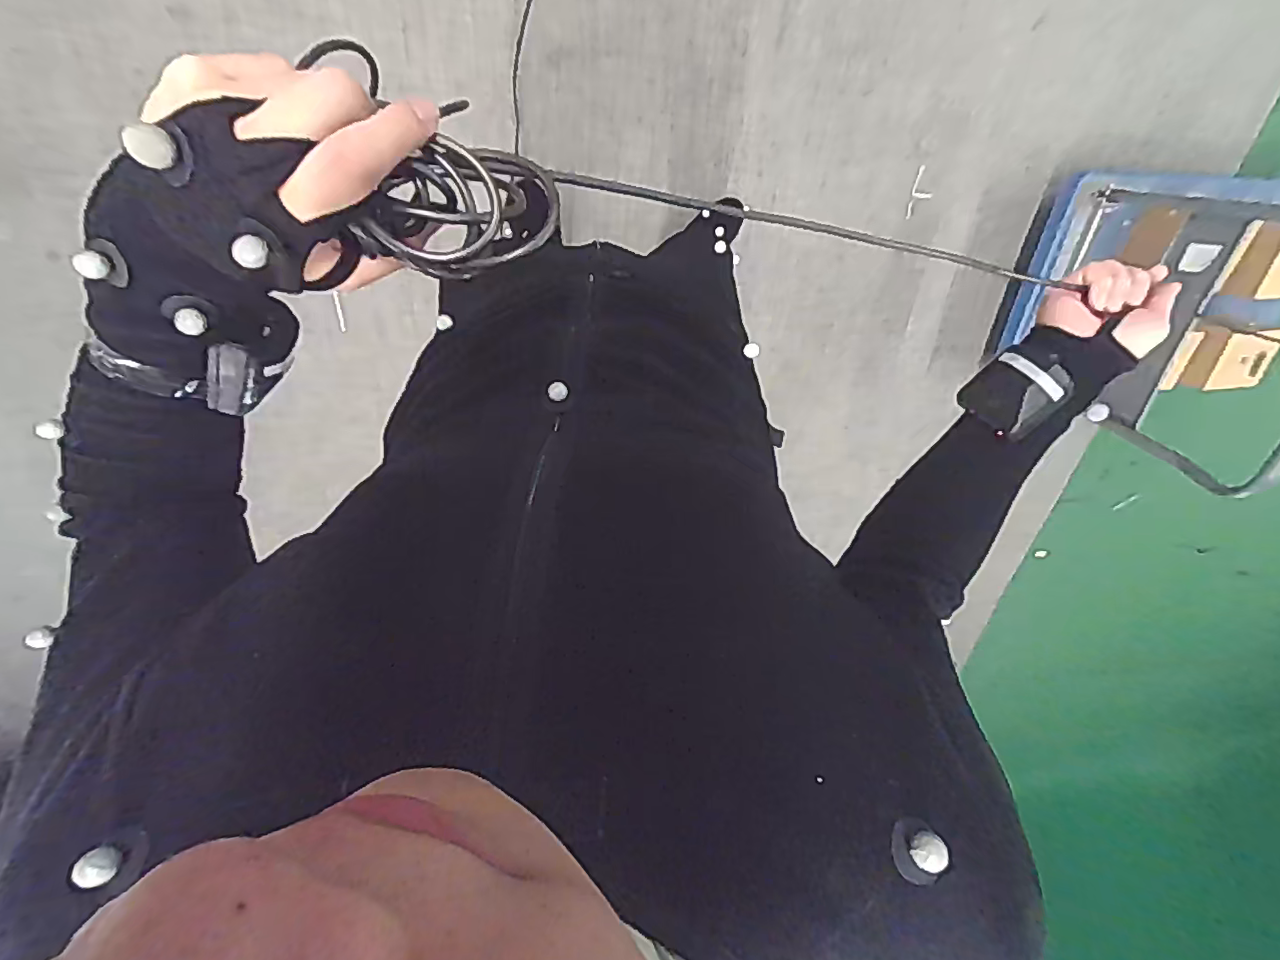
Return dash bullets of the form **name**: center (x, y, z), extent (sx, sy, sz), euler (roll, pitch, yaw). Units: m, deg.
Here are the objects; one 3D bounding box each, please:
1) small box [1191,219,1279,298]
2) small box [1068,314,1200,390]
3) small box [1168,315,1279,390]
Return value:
- **small box**: center (1.635, -0.585, 1.422), extent (0.179, 0.176, 0.168), euler (-5, 123, -6)
- **small box**: center (1.374, -0.363, 1.518), extent (0.179, 0.176, 0.168), euler (-1, 122, -8)
- **small box**: center (1.641, -0.372, 1.557), extent (0.179, 0.176, 0.168), euler (-5, 122, -5)
